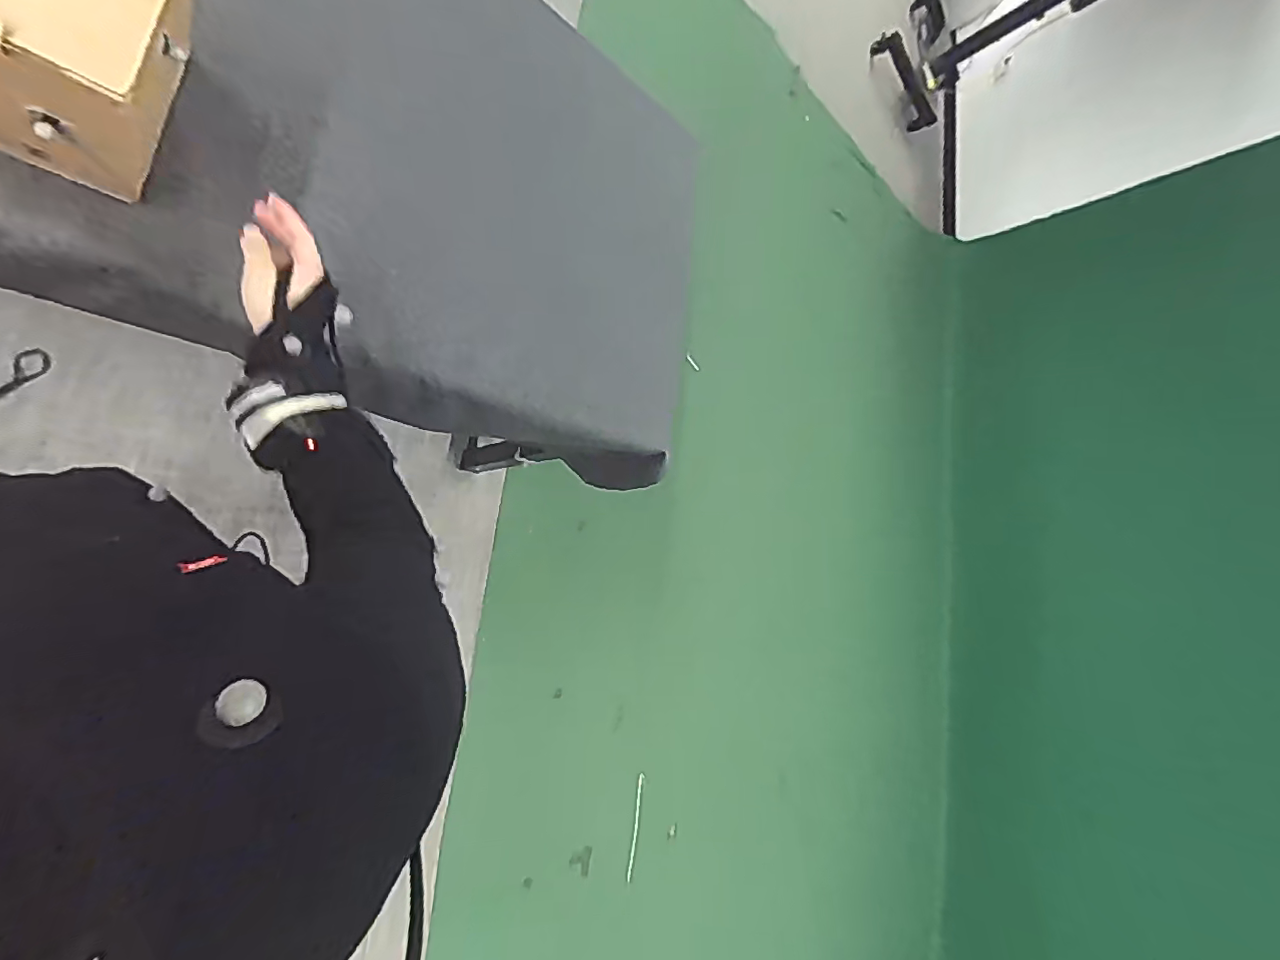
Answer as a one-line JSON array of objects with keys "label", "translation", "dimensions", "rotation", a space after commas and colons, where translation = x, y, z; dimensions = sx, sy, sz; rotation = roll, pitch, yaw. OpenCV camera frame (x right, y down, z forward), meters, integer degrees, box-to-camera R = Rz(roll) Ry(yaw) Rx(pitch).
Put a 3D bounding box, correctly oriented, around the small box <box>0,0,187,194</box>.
[{"label": "small box", "translation": [-0.461, -0.359, 0.403], "dimensions": [0.168, 0.176, 0.179], "rotation": [17, 74, -41]}]
